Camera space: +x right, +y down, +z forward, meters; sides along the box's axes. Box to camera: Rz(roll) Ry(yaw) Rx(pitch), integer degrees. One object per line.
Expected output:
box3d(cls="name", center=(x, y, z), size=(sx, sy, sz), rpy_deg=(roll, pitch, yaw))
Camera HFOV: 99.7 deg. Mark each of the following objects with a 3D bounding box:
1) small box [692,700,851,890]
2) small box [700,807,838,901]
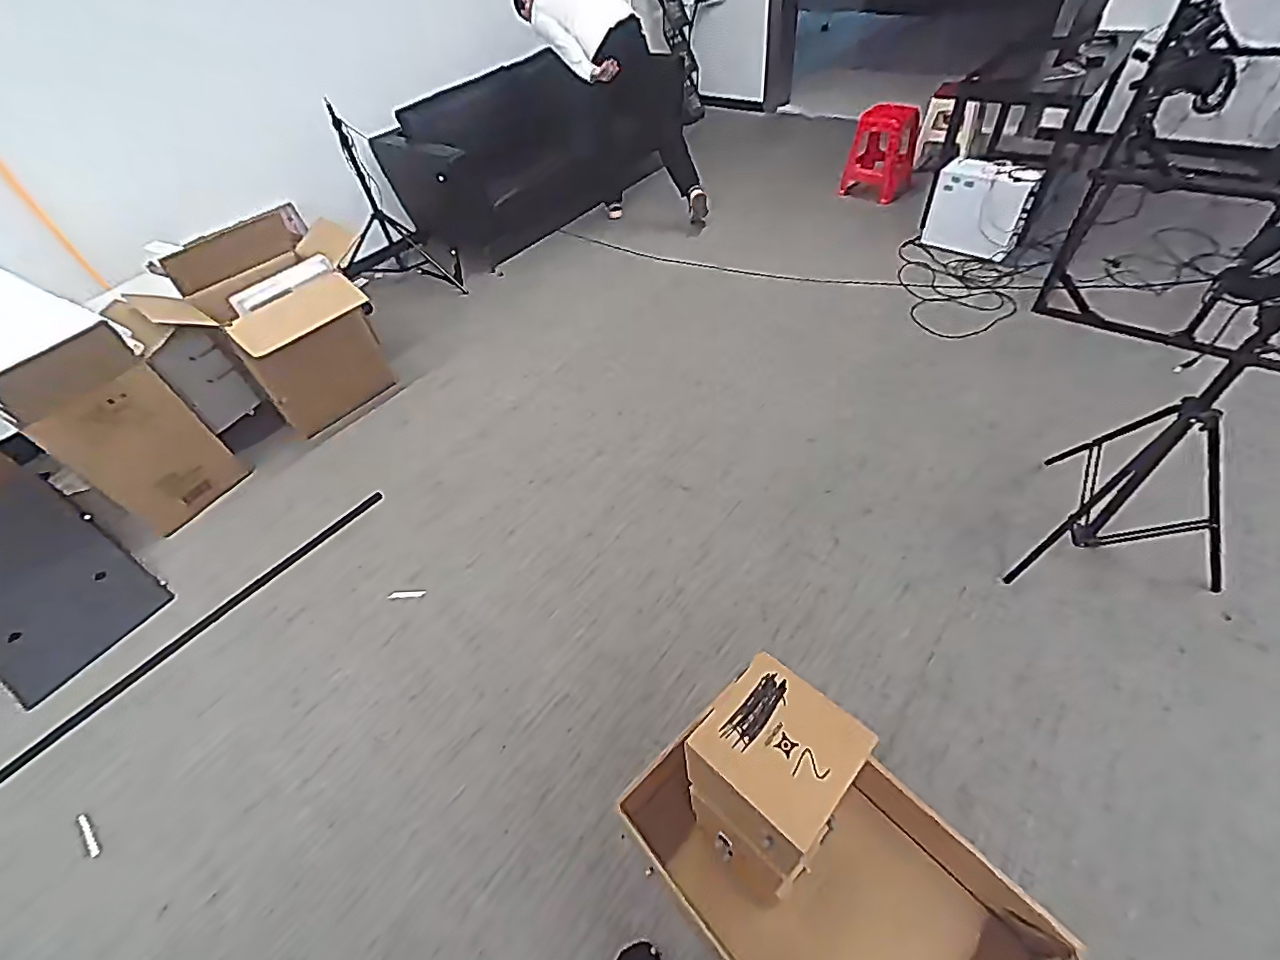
box3d(cls="small box", center=(0.196, 0.490, 0.842), size=(0.168, 0.176, 0.179), rpy_deg=(32, 59, 31))
box3d(cls="small box", center=(0.217, 0.604, 0.958), size=(0.168, 0.176, 0.179), rpy_deg=(-39, 56, -24))
